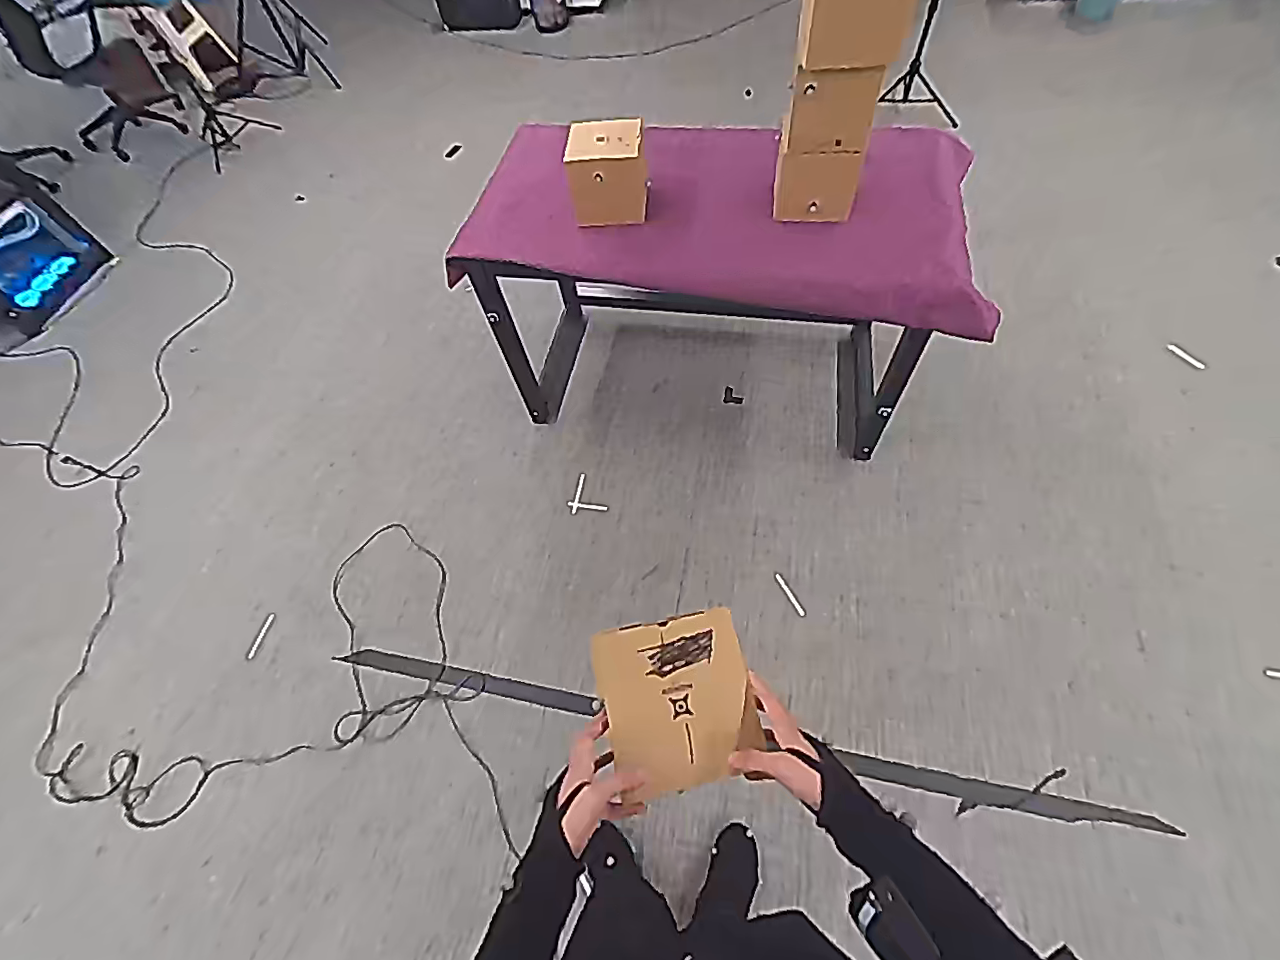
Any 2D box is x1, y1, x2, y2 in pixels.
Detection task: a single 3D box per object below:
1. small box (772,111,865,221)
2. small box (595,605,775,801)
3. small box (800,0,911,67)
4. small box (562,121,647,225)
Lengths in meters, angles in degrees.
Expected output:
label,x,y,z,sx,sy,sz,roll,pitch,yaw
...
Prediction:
label,x,y,z,sx,sy,sz,roll,pitch,yaw
small box,0.412,-0.731,1.269,0.179,0.176,0.168,5,60,8
small box,0.039,0.269,0.660,0.168,0.176,0.179,-9,67,-10
small box,0.388,-0.878,0.976,0.179,0.176,0.168,2,60,7
small box,-0.080,-0.750,1.331,0.179,0.176,0.168,1,60,6
